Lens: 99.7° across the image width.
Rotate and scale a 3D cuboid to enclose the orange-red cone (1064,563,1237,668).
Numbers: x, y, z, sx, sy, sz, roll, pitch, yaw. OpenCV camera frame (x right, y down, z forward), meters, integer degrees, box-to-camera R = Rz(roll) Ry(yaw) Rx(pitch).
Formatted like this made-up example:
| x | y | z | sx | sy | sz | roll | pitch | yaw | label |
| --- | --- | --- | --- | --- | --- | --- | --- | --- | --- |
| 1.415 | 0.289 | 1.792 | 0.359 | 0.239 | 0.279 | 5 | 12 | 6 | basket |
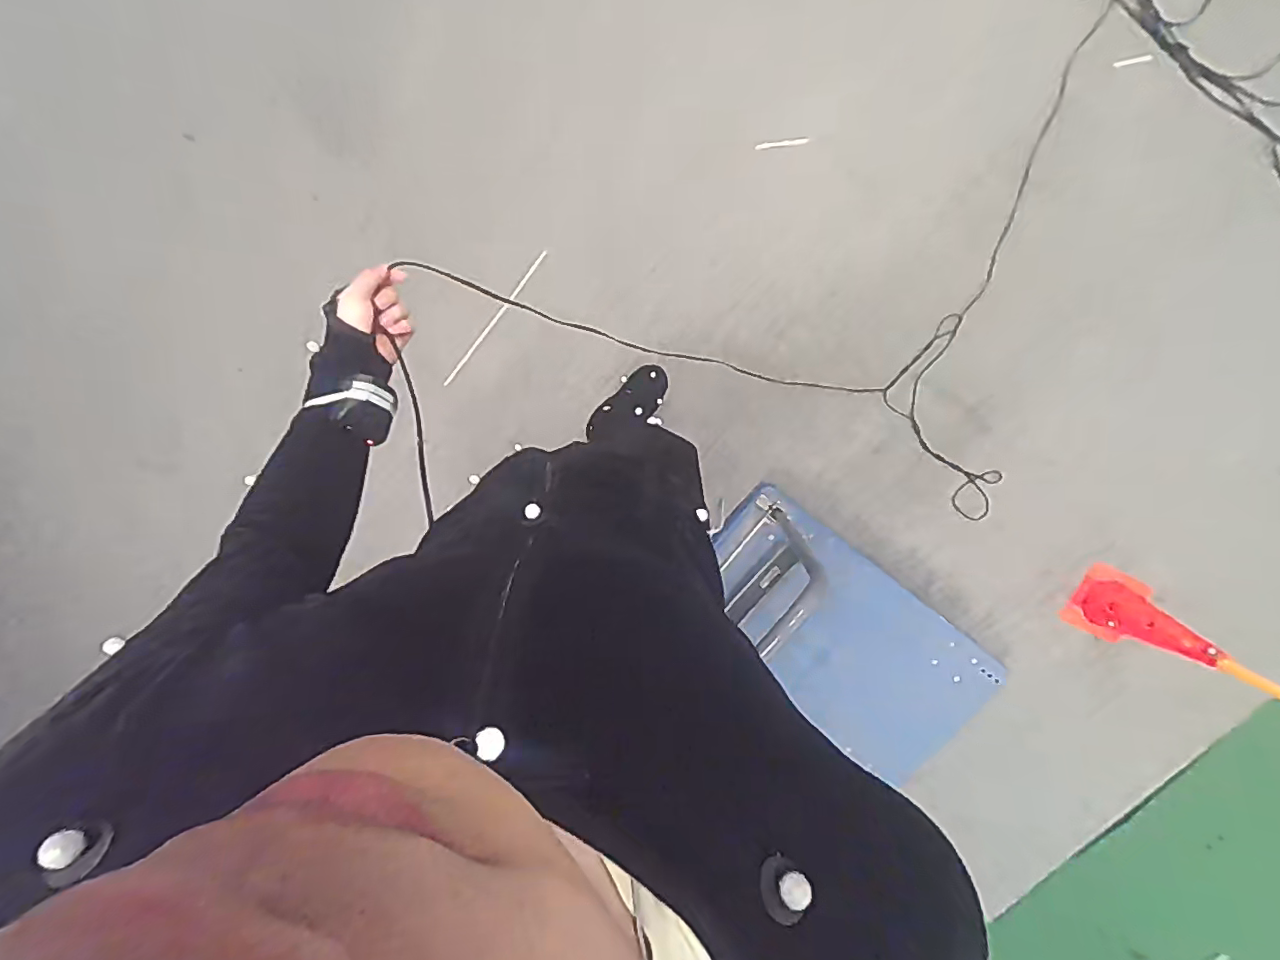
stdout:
| x | y | z | sx | sy | sz | roll | pitch | yaw | label |
| --- | --- | --- | --- | --- | --- | --- | --- | --- | --- |
| 1.390 | 0.393 | 1.444 | 0.198 | 0.360 | 0.199 | 26 | 99 | -3 | orange-red cone |
